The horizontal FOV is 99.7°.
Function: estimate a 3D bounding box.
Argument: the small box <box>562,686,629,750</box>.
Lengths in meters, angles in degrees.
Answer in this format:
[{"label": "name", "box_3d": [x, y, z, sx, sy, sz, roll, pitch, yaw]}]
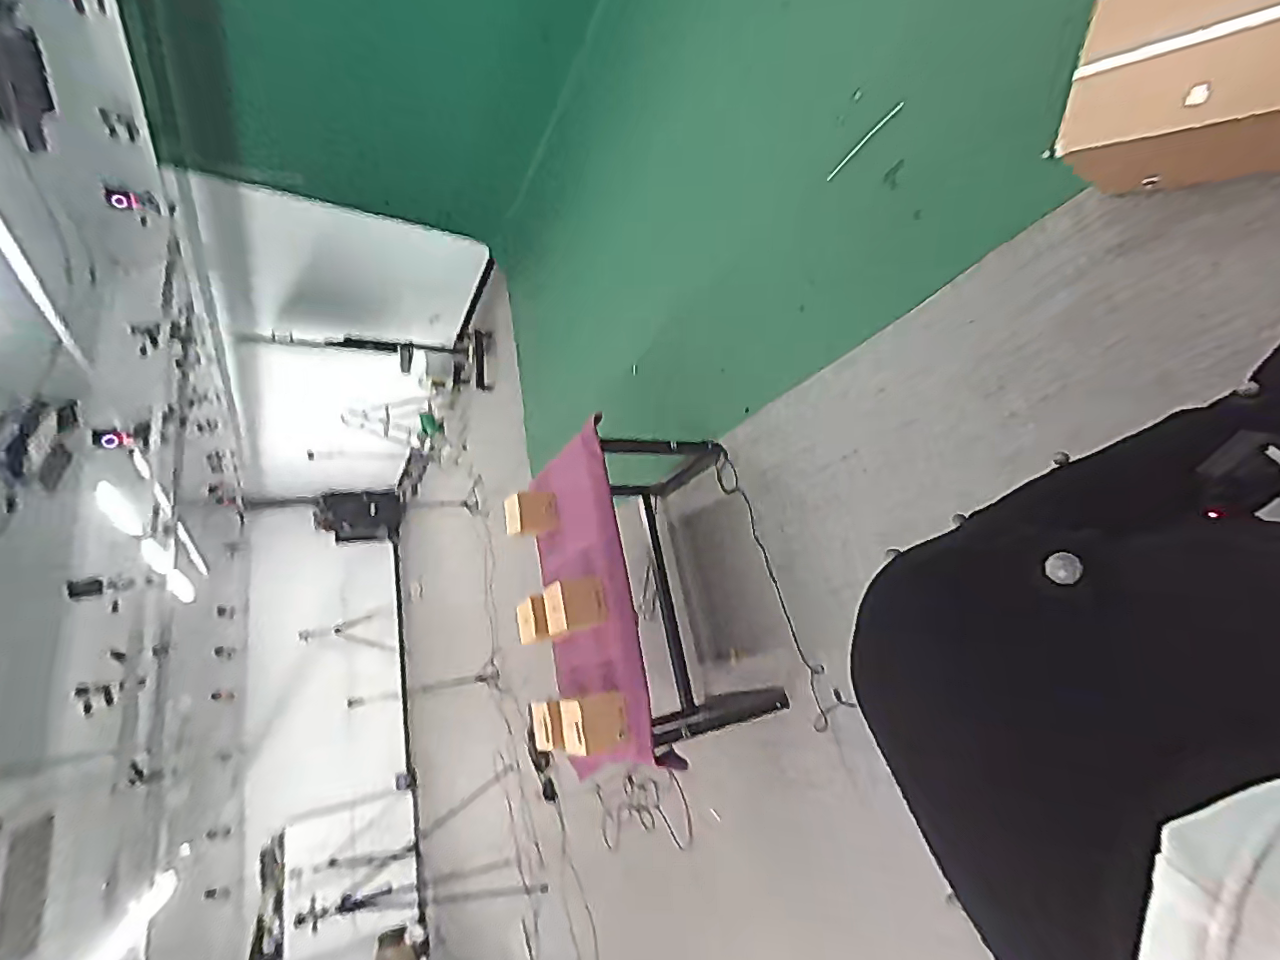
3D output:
[{"label": "small box", "box_3d": [-0.148, 0.811, 1.861, 0.179, 0.176, 0.168, -33, 63, 55]}]

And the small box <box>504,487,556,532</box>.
[{"label": "small box", "box_3d": [-0.483, 0.130, 2.368, 0.179, 0.176, 0.168, -26, 70, 54]}]

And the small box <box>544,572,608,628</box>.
[{"label": "small box", "box_3d": [-0.236, 0.444, 1.993, 0.179, 0.176, 0.168, -35, 63, 53]}]

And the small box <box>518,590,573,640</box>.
[{"label": "small box", "box_3d": [-0.391, 0.554, 2.241, 0.179, 0.176, 0.168, -41, 57, 49]}]
